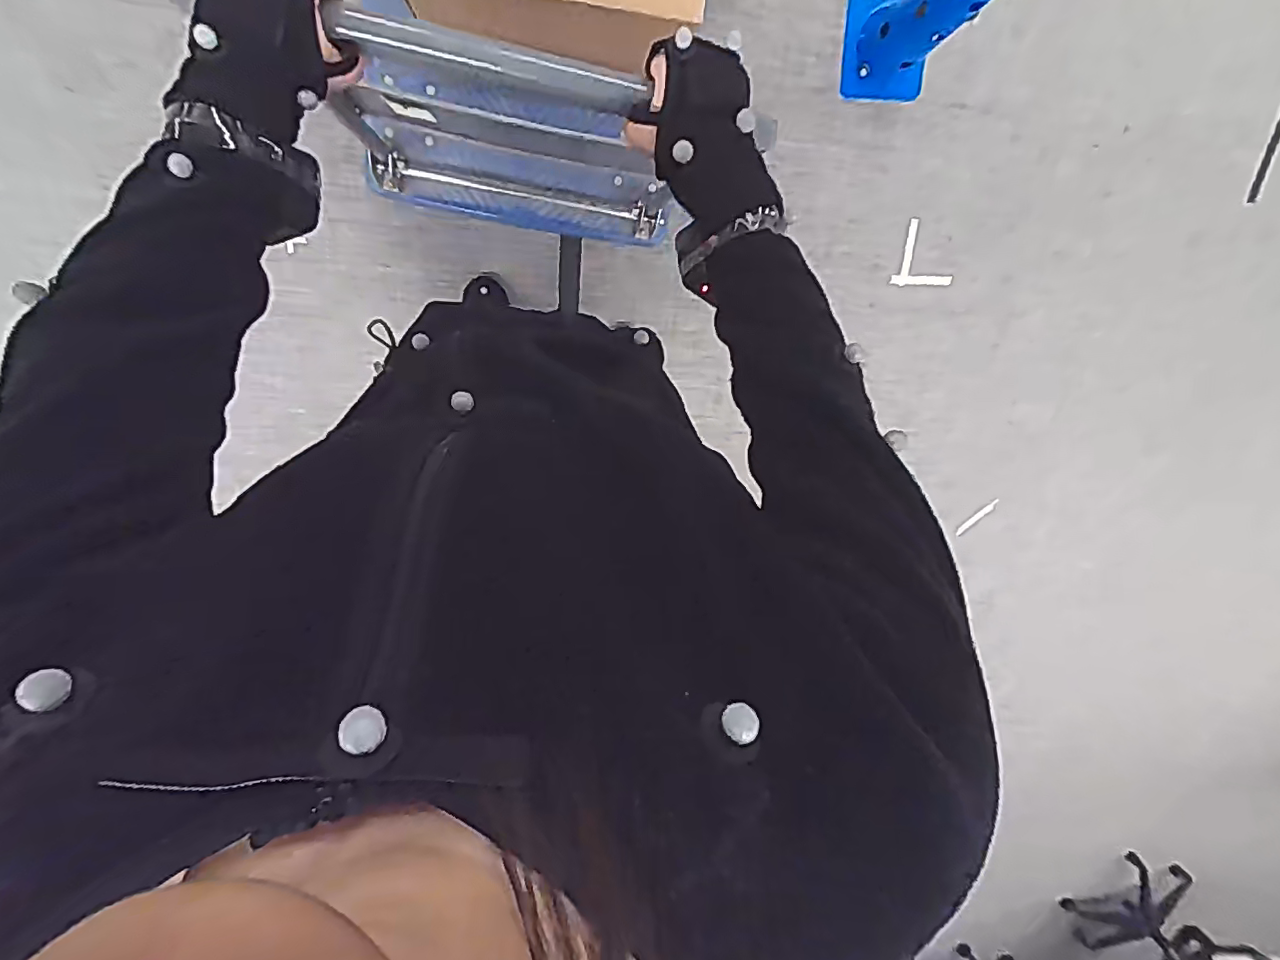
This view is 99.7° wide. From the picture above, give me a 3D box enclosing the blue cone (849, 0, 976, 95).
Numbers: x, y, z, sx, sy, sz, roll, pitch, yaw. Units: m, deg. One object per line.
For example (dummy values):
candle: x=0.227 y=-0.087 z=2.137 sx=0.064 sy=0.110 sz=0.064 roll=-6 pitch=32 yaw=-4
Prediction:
blue cone: x=0.583 y=-0.915 z=1.052 sx=0.193 sy=0.380 sz=0.192 roll=-3 pitch=111 yaw=-9
